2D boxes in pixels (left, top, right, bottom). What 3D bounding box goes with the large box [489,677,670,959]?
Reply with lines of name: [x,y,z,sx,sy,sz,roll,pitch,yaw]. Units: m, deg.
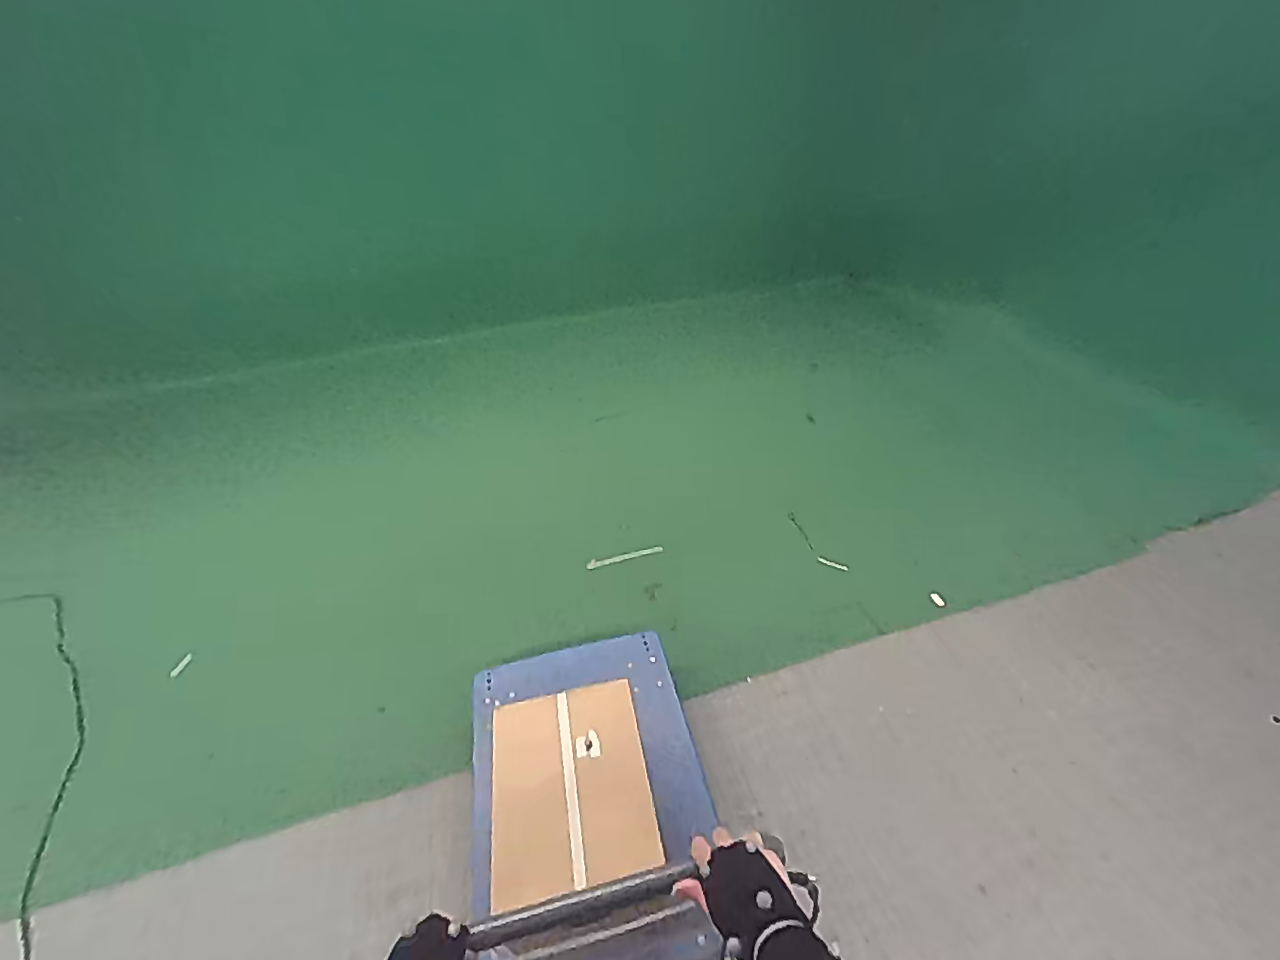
large box: [-0.135,0.715,1.171,0.320,0.320,0.408,-9,39,-7]
